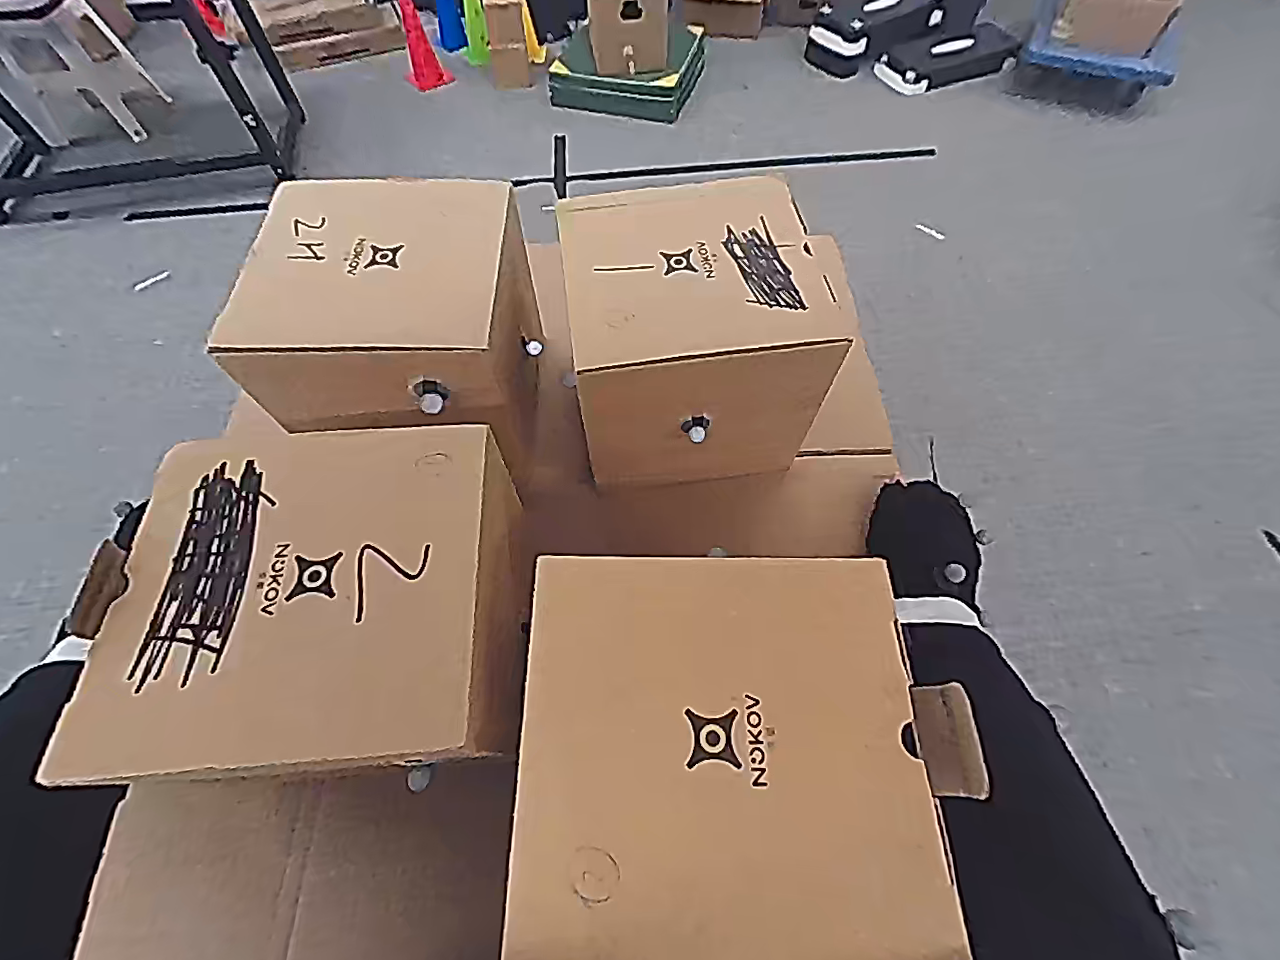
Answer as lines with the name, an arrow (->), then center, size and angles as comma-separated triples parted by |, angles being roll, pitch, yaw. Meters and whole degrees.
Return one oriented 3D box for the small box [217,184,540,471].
small box -> -0.185, -0.117, 0.453 | 0.179, 0.176, 0.168 | -1, 62, 0
